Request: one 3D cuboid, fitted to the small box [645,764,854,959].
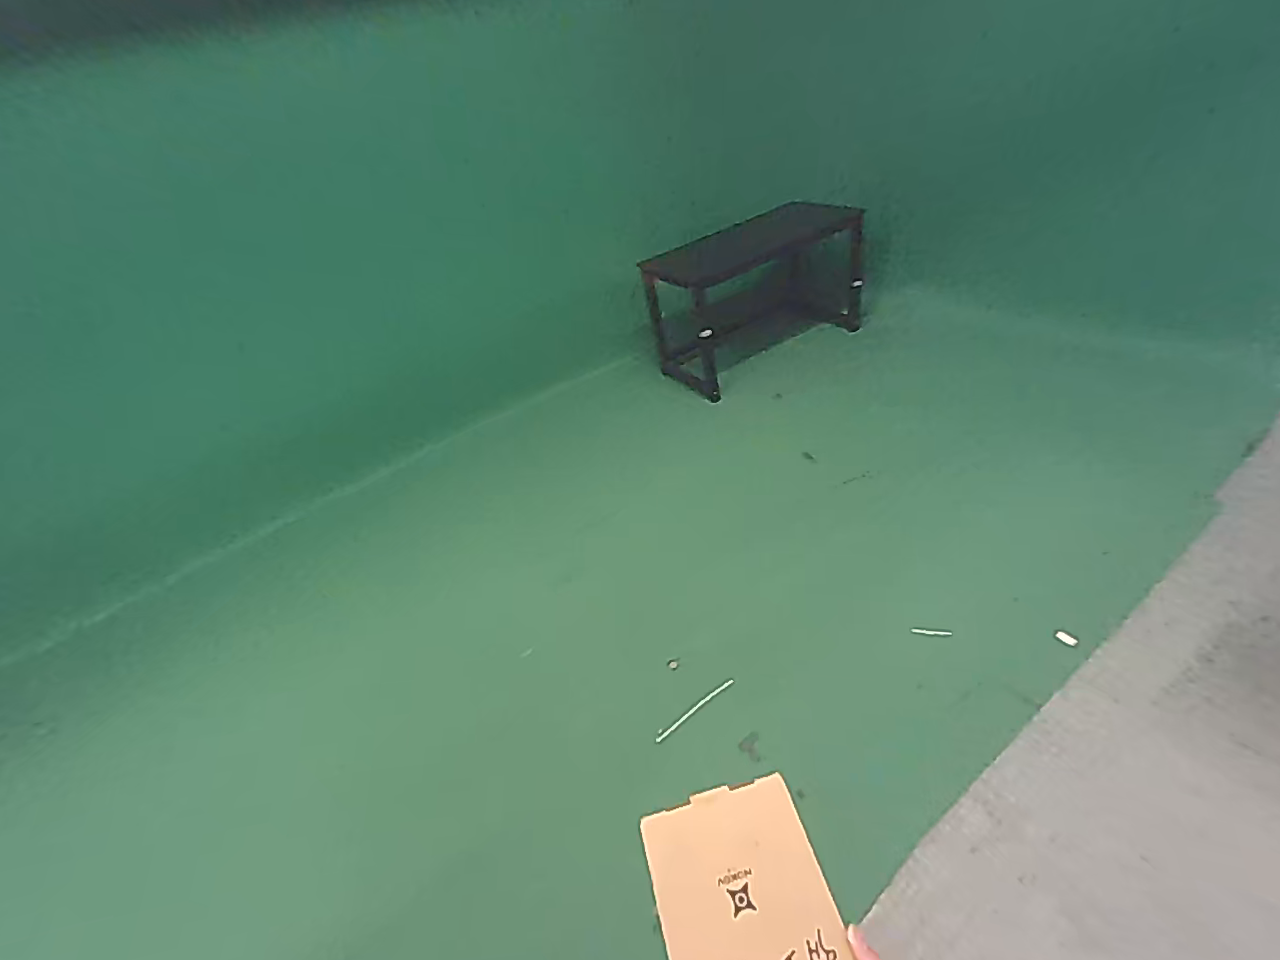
[{"bbox_3d":[0.113,0.455,0.598,0.168,0.176,0.179,-17,42,-1],"label":"small box"}]
